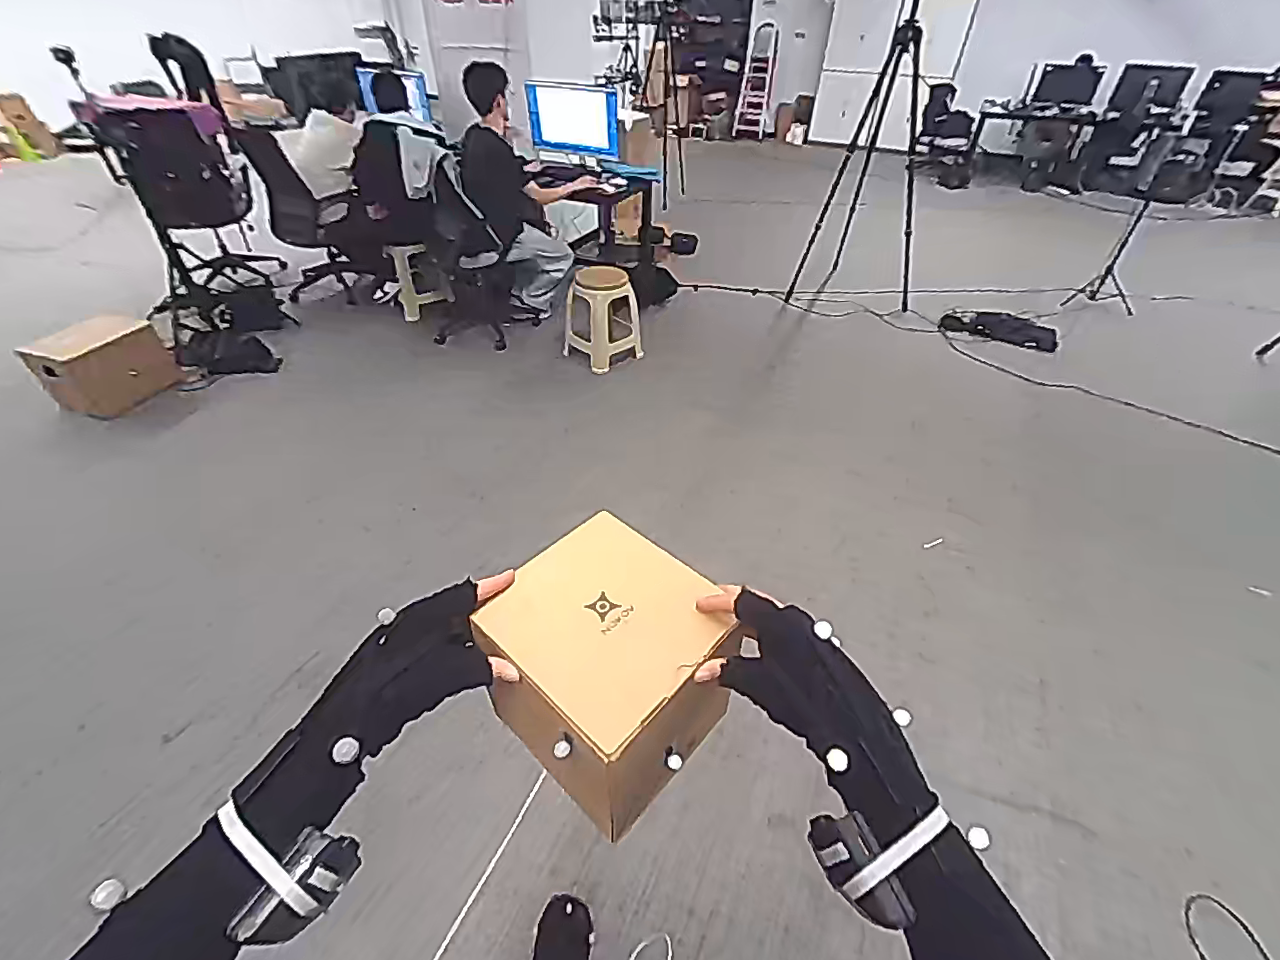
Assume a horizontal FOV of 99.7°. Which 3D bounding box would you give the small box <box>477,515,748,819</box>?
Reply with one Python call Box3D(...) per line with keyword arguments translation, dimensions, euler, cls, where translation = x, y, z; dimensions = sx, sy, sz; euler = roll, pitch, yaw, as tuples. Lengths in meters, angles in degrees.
Box3D(translation=(-0.027, 0.171, 0.510), dimensions=(0.179, 0.176, 0.168), euler=(33, 49, 30), cls="small box")
